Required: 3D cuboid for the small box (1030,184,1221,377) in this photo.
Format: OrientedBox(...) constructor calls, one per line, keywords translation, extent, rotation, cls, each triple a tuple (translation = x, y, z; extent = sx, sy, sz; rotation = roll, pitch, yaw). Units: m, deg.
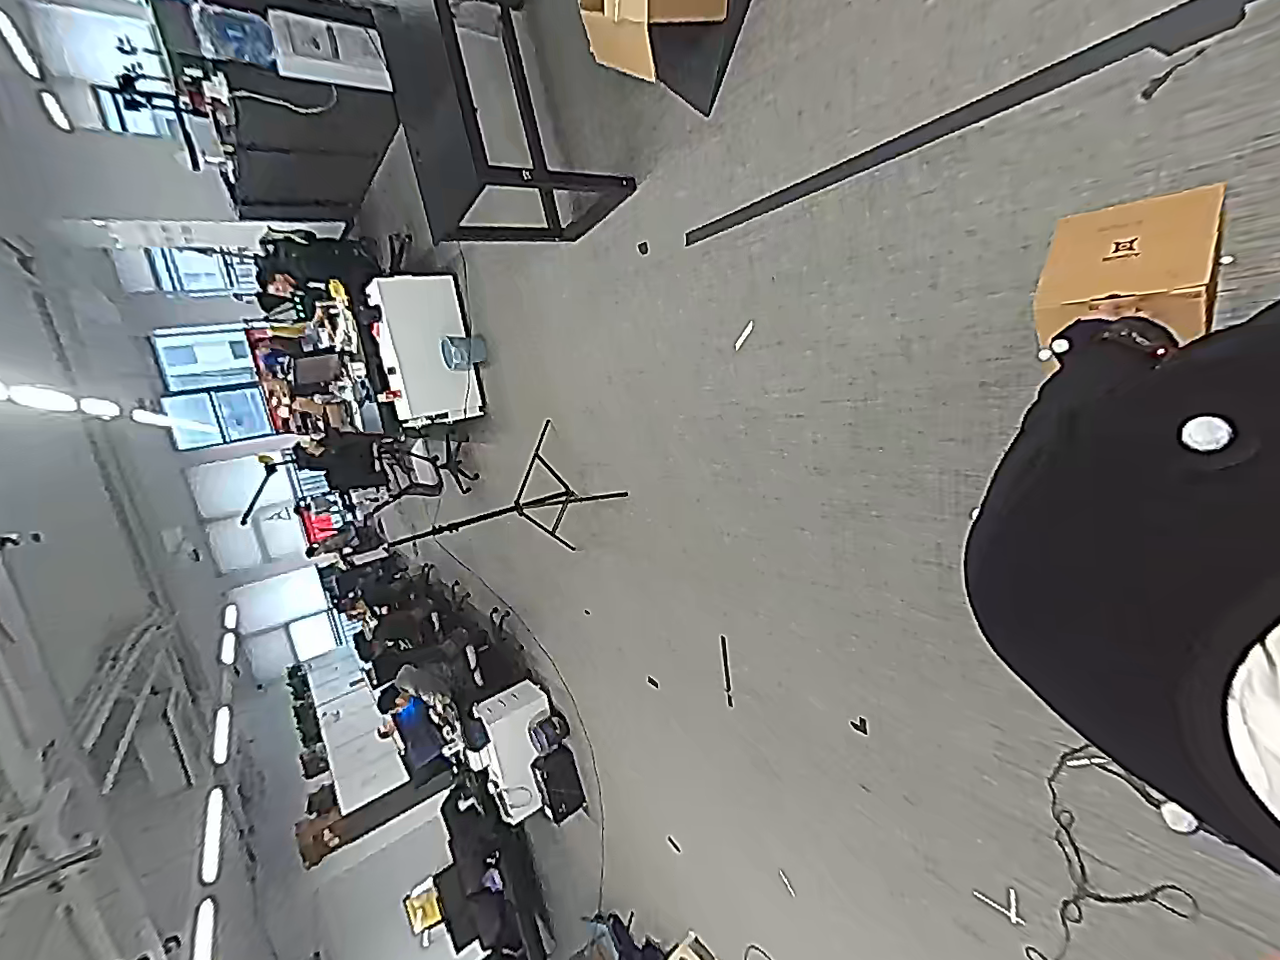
OrientedBox(translation=(0.664, -0.254, 0.741), extent=(0.168, 0.179, 0.176), rotation=(8, 154, 47), cls="small box")
